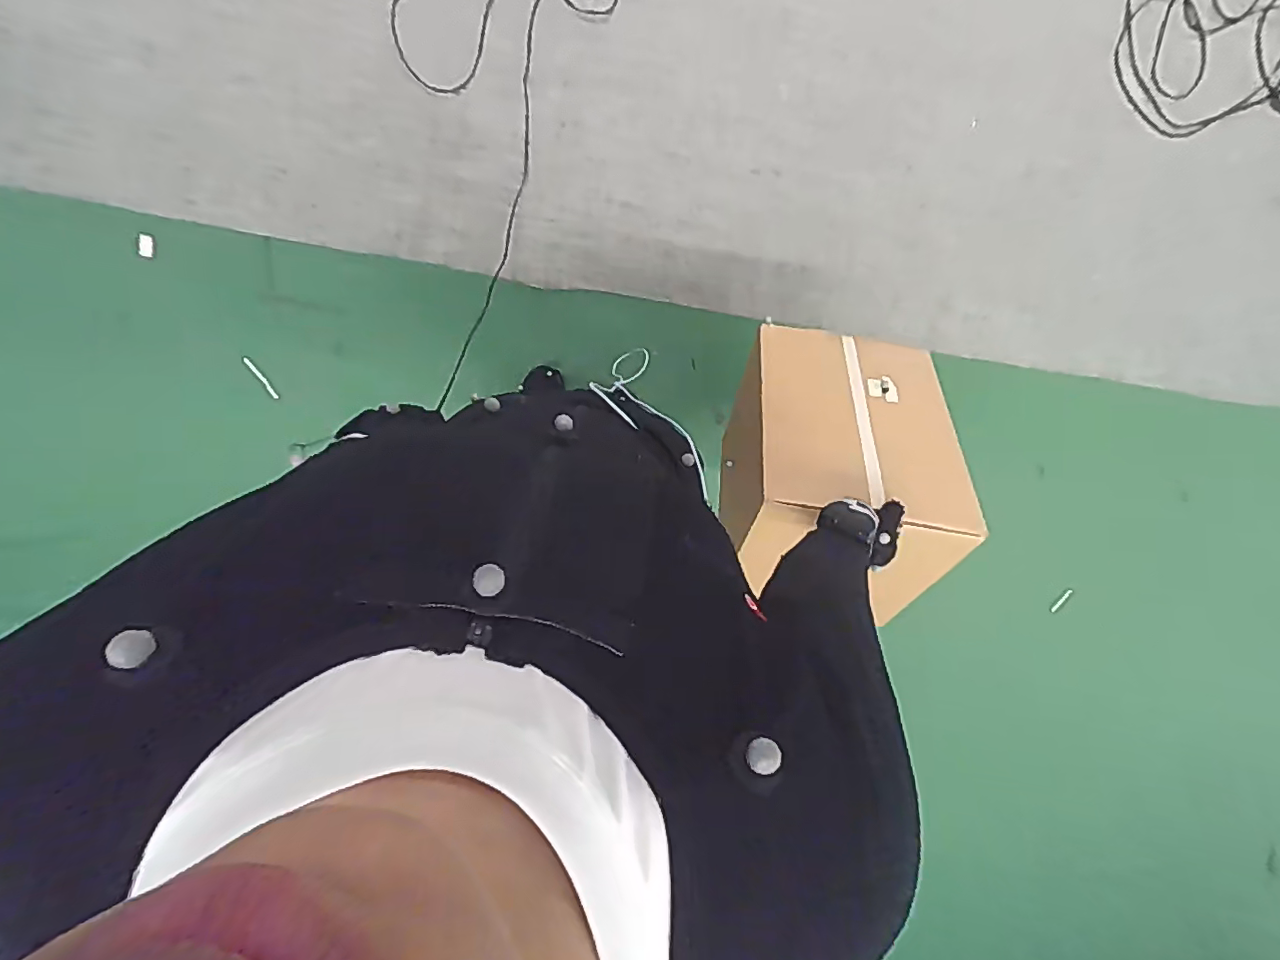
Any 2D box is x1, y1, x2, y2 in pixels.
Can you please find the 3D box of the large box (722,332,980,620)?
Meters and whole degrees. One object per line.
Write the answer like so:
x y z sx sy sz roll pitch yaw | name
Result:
0.333 -0.005 0.988 0.320 0.408 0.320 10 142 -1 | large box
